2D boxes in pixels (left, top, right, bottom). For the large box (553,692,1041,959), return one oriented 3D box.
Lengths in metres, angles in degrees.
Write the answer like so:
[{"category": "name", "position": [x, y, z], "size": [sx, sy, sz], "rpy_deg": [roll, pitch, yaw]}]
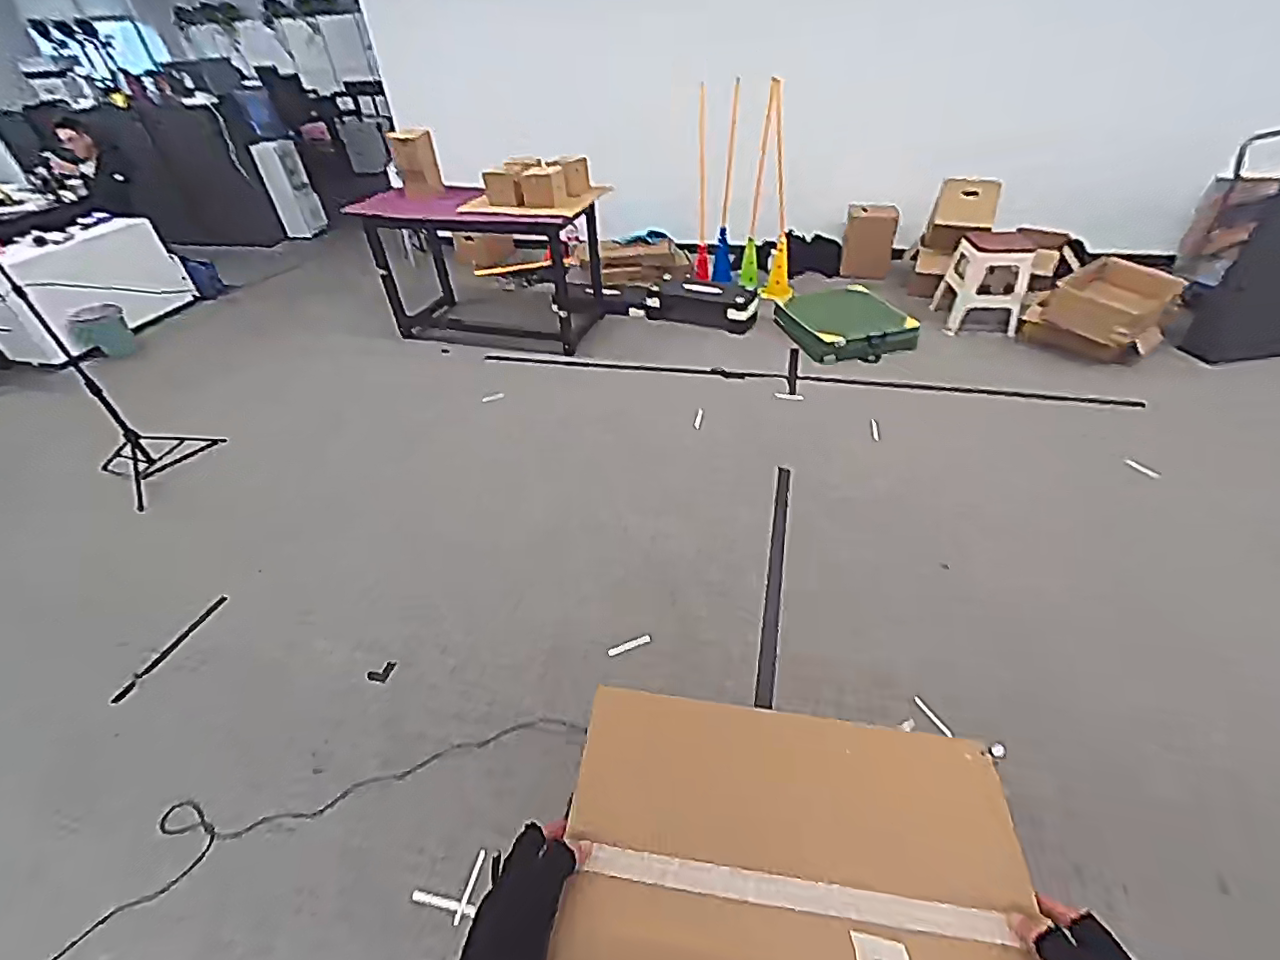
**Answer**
[{"category": "large box", "position": [0.133, 0.466, 0.579], "size": [0.408, 0.320, 0.320], "rpy_deg": [6, 44, 6]}]
